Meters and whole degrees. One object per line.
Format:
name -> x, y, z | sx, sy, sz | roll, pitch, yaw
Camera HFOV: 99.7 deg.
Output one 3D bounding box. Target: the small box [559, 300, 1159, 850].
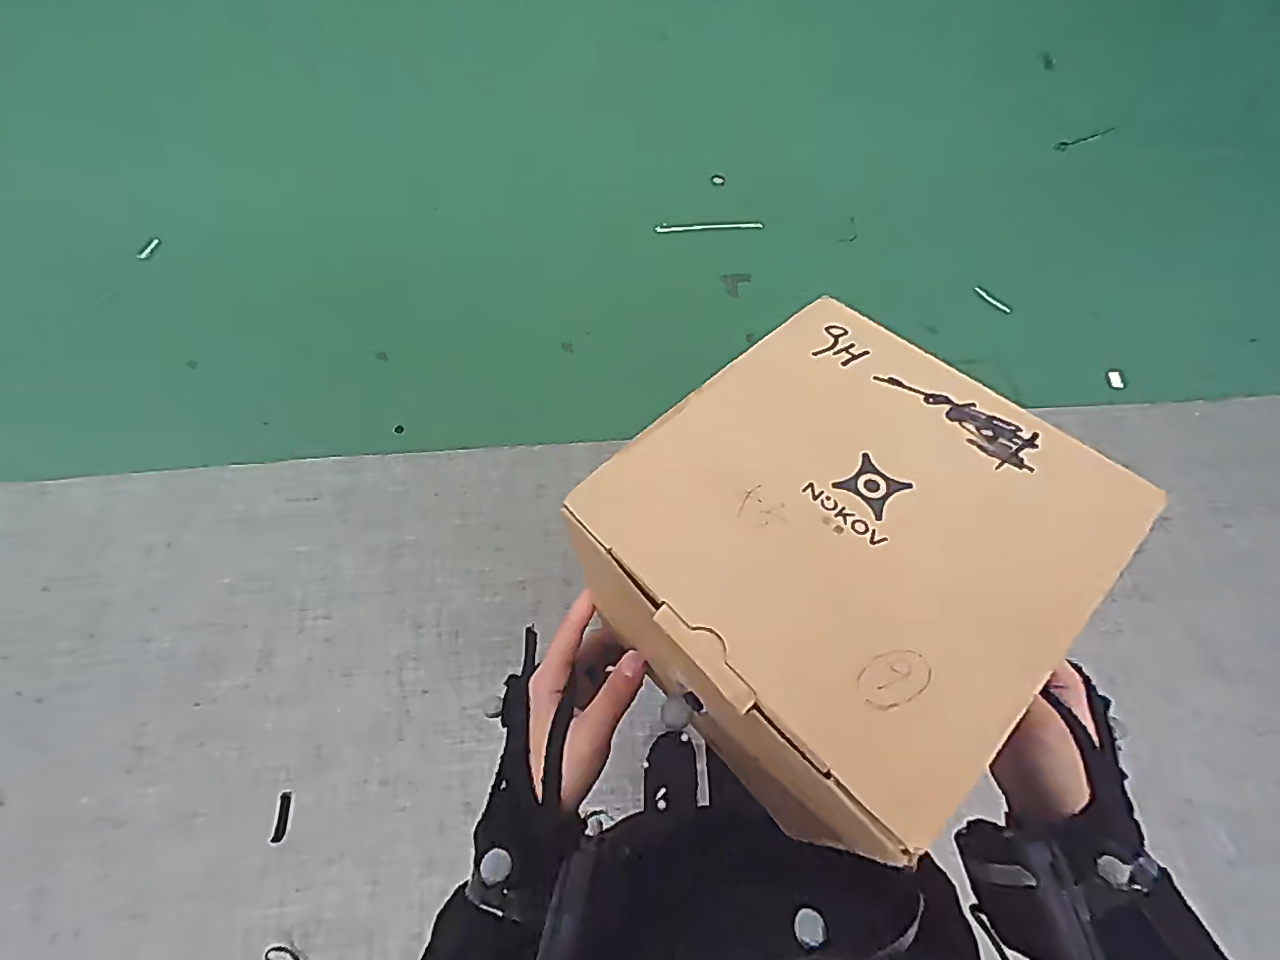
small box -> 0.087, 0.050, 0.282 | 0.179, 0.176, 0.168 | -38, 64, -18
